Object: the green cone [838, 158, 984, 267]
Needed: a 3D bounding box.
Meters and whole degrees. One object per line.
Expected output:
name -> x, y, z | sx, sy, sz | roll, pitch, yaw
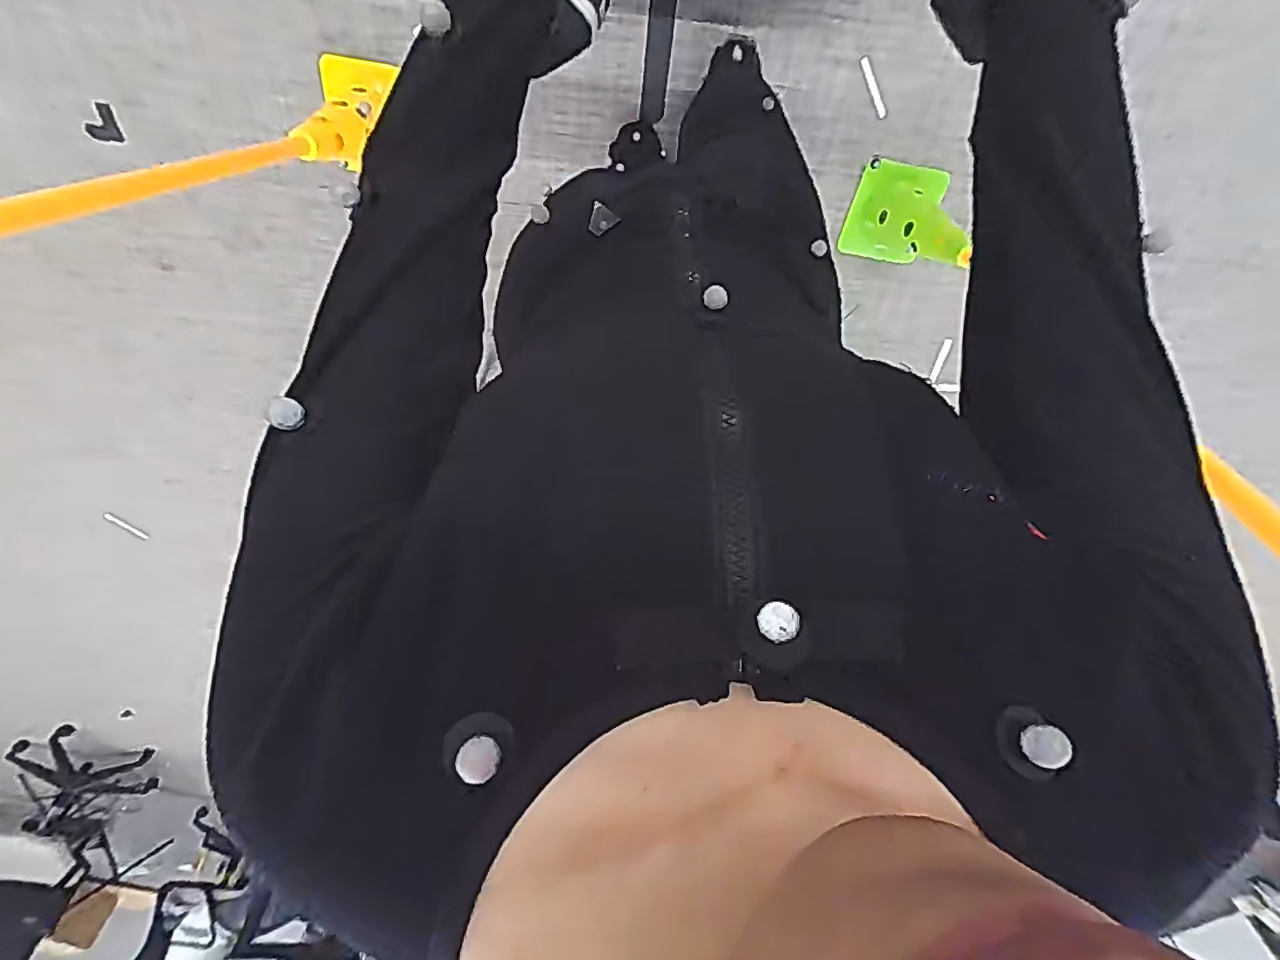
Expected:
green cone -> 0.585, -0.510, 1.110 | 0.202, 0.368, 0.200 | 6, 128, -8
